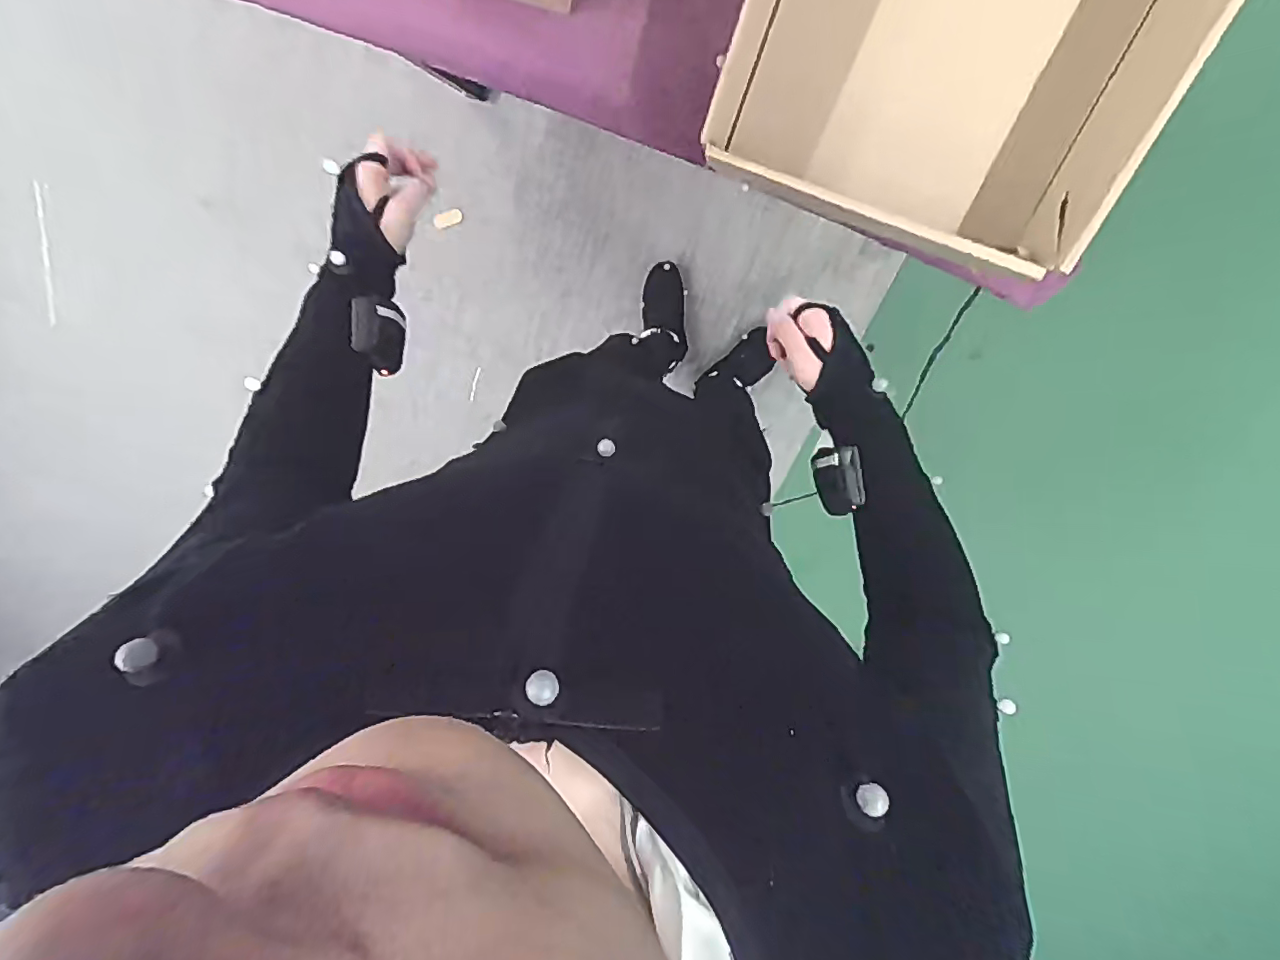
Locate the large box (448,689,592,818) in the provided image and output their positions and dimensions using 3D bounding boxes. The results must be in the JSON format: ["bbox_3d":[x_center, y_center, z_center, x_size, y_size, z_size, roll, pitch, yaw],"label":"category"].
[{"bbox_3d":[-0.432,1.023,2.033,0.408,0.320,0.320,-7,111,12],"label":"large box"}]
